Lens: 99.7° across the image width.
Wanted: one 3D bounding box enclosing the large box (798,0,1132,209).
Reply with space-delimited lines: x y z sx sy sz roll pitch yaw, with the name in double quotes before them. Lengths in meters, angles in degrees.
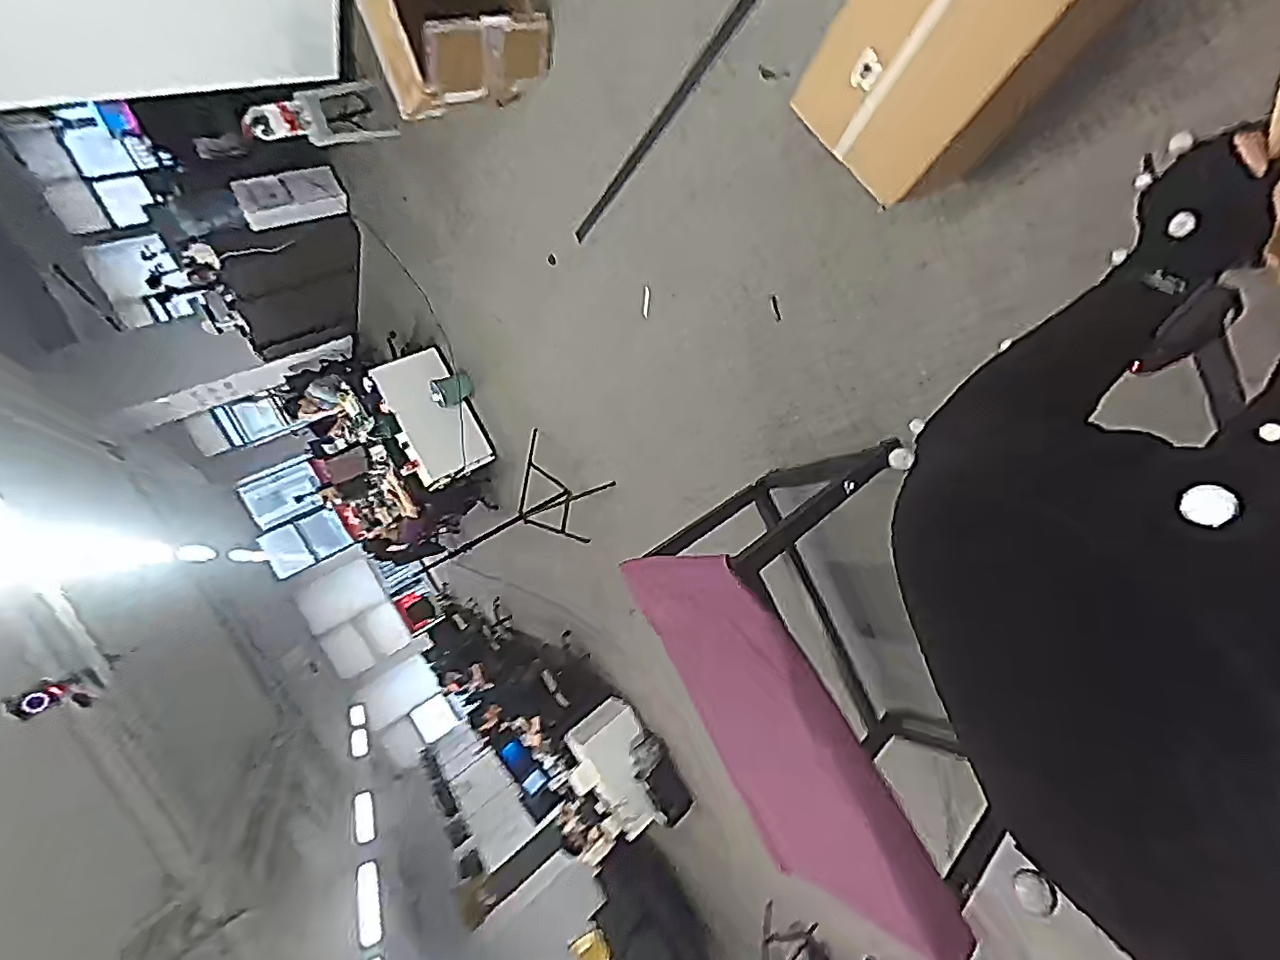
"large box" 0.577 -0.792 0.970 0.320 0.320 0.408 55 152 10
